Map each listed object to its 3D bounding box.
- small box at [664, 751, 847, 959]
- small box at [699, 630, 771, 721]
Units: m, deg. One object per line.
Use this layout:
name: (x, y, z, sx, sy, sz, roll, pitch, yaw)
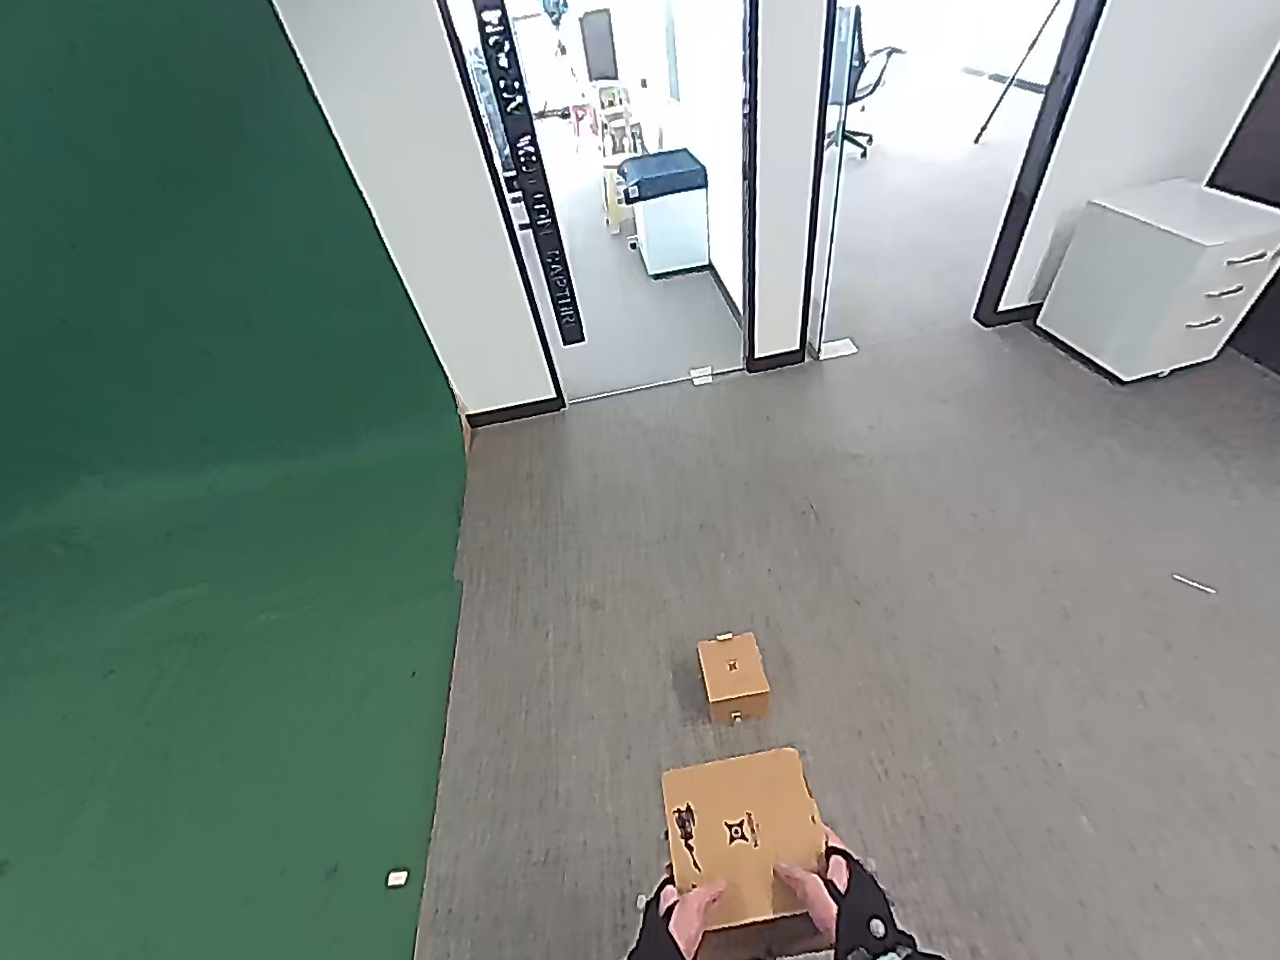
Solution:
small box: (0.133, 0.466, 0.666, 0.179, 0.176, 0.168, -11, 37, 2)
small box: (0.264, 0.550, 1.518, 0.168, 0.176, 0.179, -10, 45, 4)
